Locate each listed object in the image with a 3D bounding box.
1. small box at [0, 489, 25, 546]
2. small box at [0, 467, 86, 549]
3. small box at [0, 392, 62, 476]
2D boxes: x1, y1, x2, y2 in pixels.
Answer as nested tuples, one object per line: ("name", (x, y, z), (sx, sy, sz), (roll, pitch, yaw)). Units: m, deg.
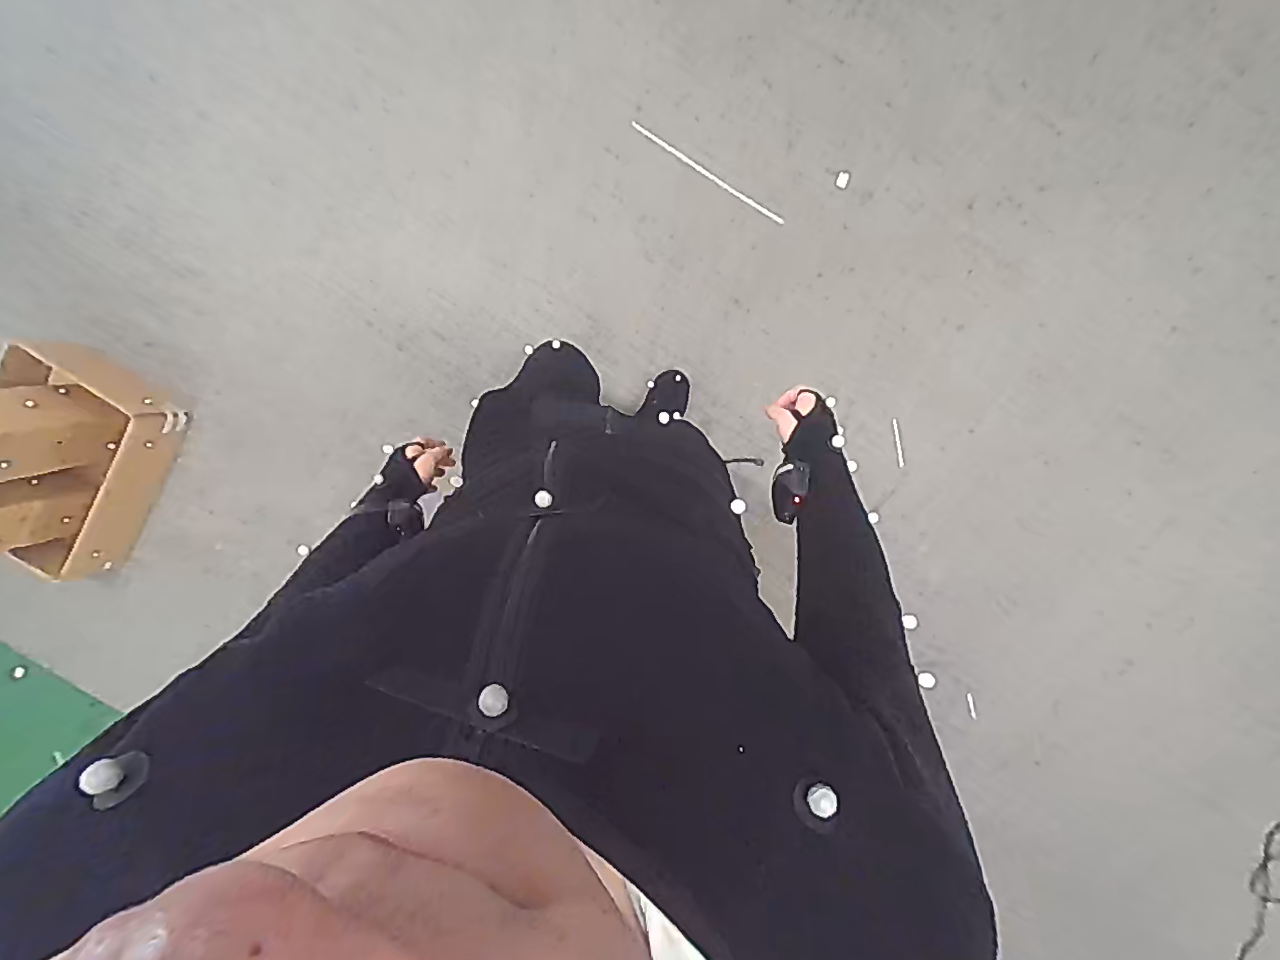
("small box", (-1.816, 0.097, 1.431), (0.179, 0.176, 0.168), (33, 101, -3))
("small box", (-1.813, 0.070, 1.591), (0.179, 0.176, 0.168), (33, 100, -4))
("small box", (-1.667, -0.115, 1.382), (0.179, 0.176, 0.168), (34, 103, -4))
